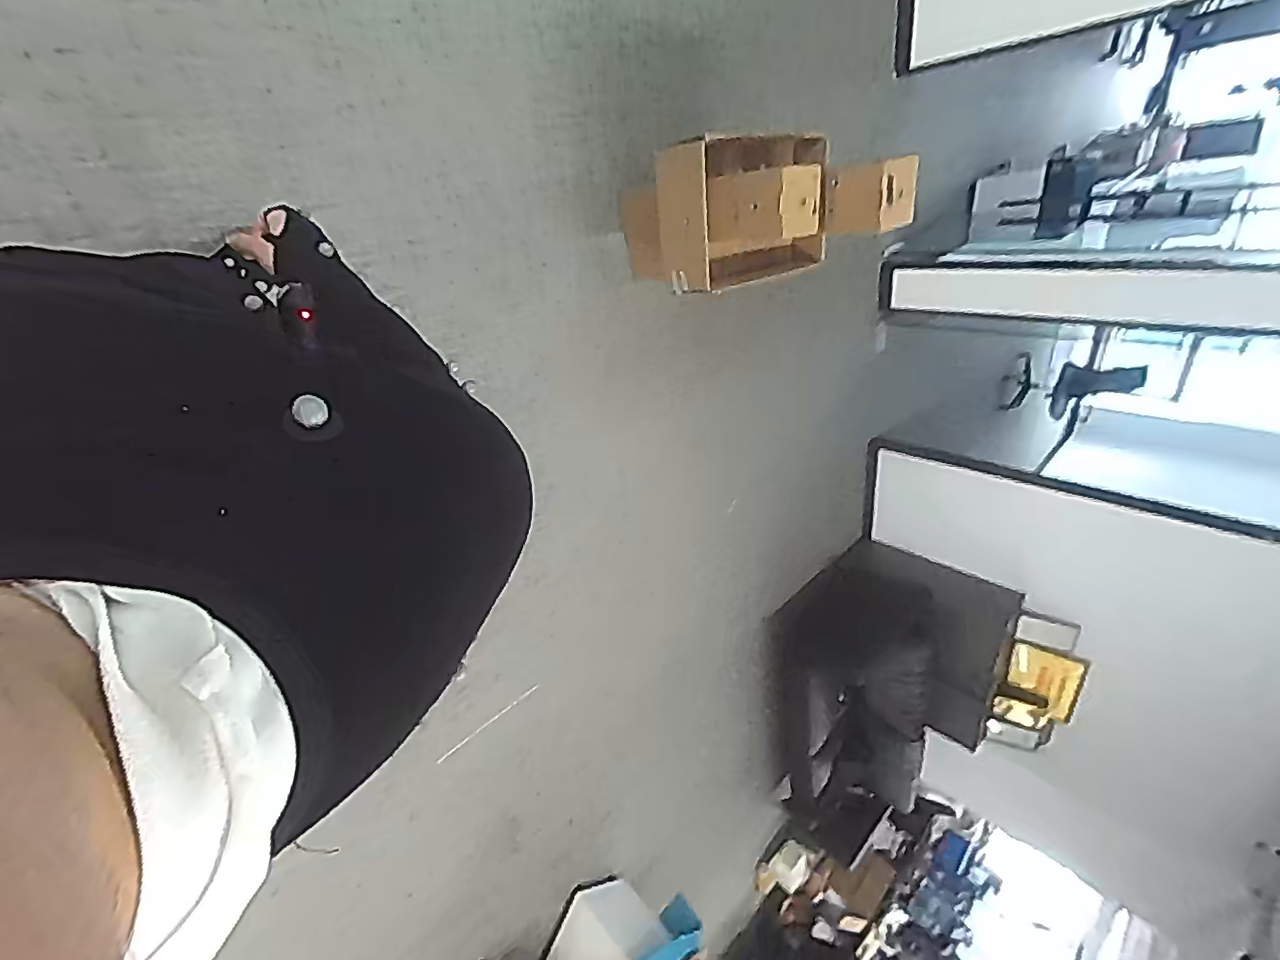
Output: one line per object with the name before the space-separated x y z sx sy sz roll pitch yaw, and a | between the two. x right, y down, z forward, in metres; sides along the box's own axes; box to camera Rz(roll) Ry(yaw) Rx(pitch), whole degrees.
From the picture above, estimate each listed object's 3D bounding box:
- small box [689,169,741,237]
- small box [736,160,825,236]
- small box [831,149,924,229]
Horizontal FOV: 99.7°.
small box | 0.262 -0.800 1.563 0.179 0.176 0.168 -27 123 -35
small box | 0.371 -0.754 1.450 0.179 0.176 0.168 -26 123 -34
small box | 0.635 -0.783 1.463 0.179 0.176 0.168 -28 125 -30
